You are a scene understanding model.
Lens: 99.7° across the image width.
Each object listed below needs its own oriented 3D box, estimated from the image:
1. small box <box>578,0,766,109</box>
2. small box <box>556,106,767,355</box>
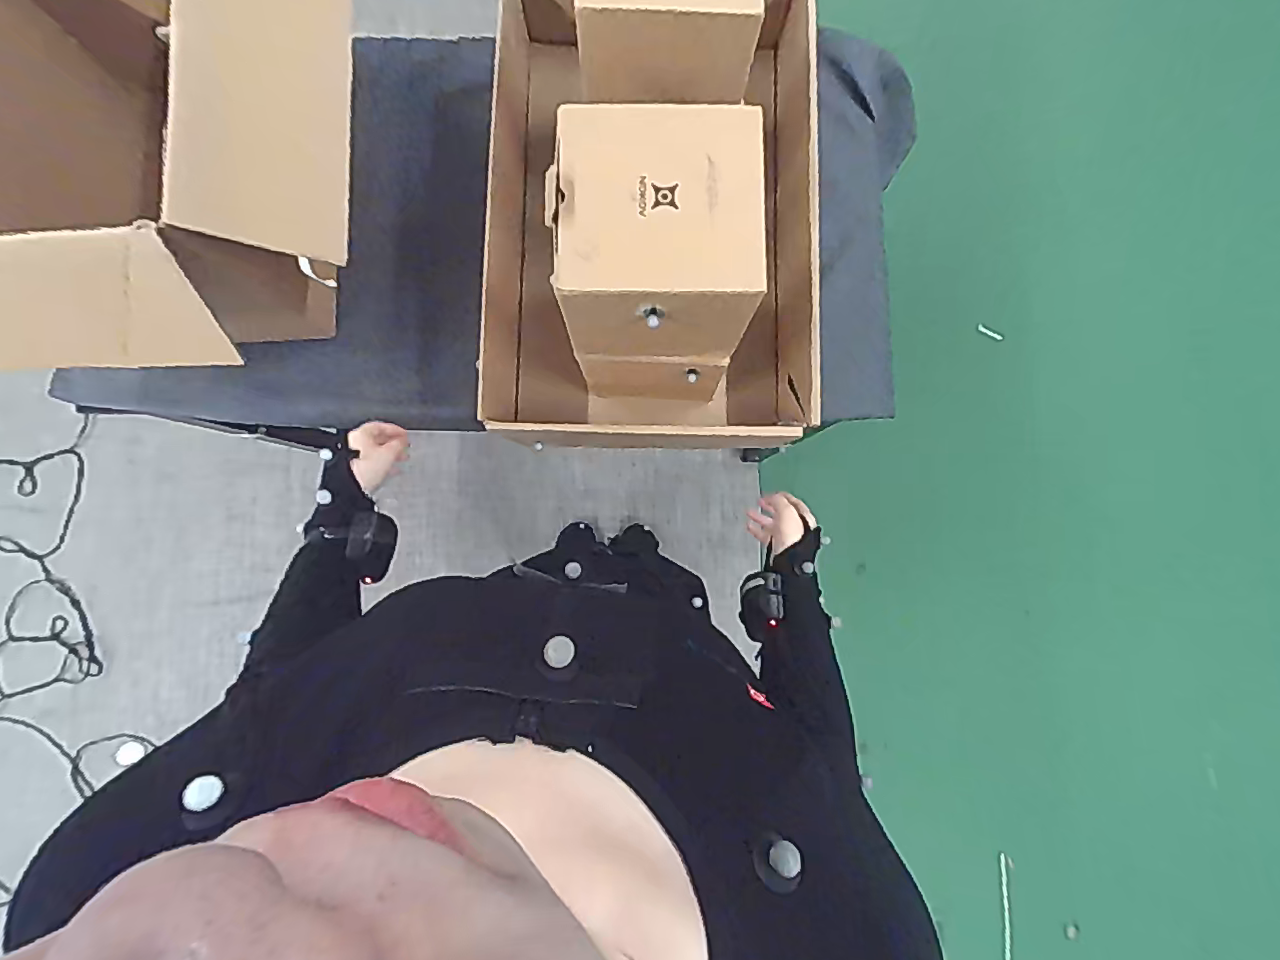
[{"bbox_3d":[0.029,-0.479,0.550,0.168,0.176,0.179,2,87,0],"label":"small box"},{"bbox_3d":[0.018,-0.226,0.531,0.179,0.176,0.168,0,85,-1],"label":"small box"}]
